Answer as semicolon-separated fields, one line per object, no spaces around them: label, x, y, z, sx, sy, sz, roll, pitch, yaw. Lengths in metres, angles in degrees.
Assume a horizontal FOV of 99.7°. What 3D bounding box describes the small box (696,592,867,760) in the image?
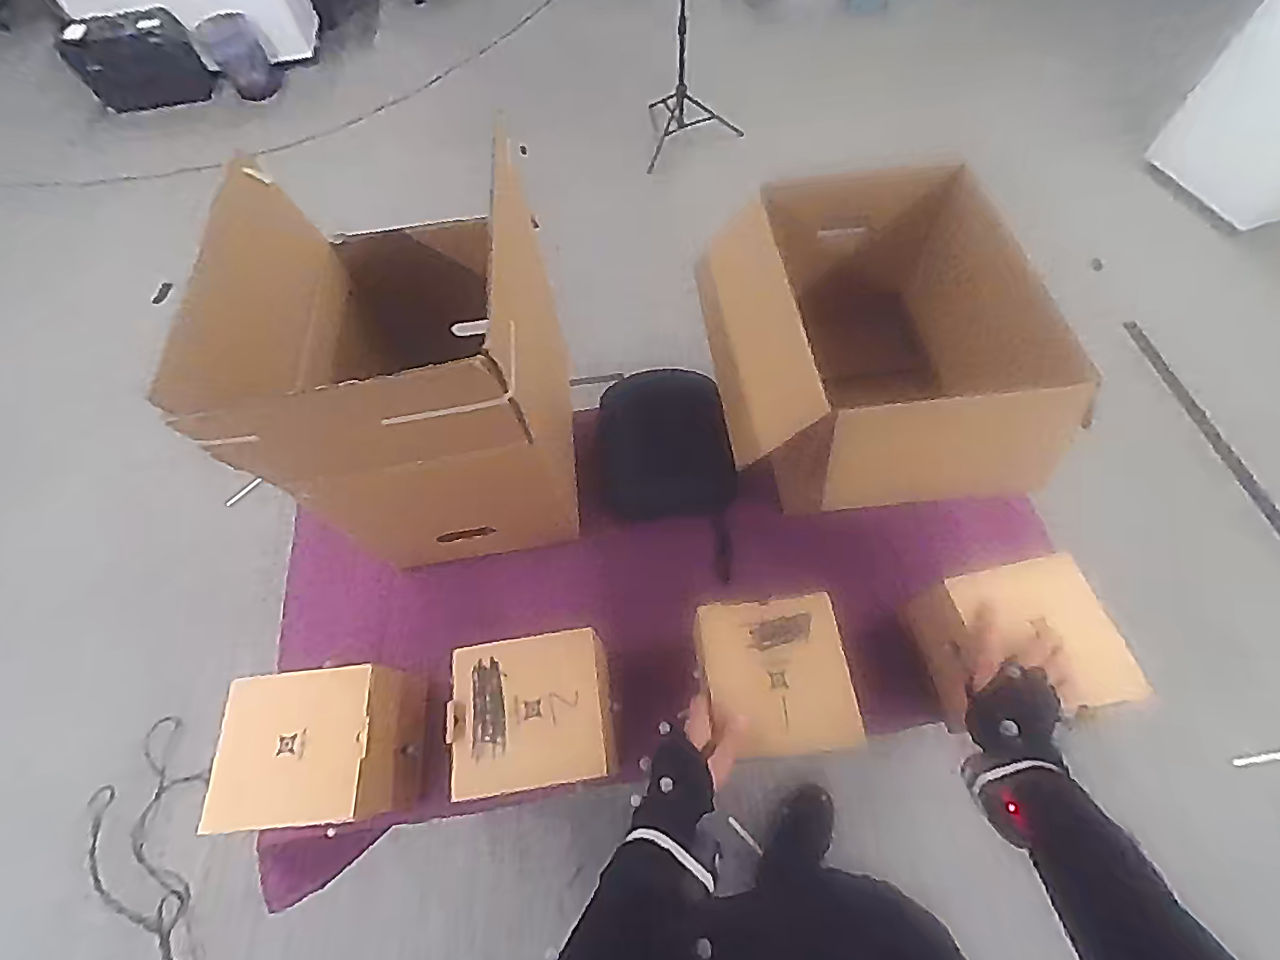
small box;0.166;0.260;0.704;0.168;0.176;0.179;-7;64;1

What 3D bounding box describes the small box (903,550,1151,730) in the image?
small box;0.476;0.214;0.705;0.168;0.176;0.179;-13;63;-1
